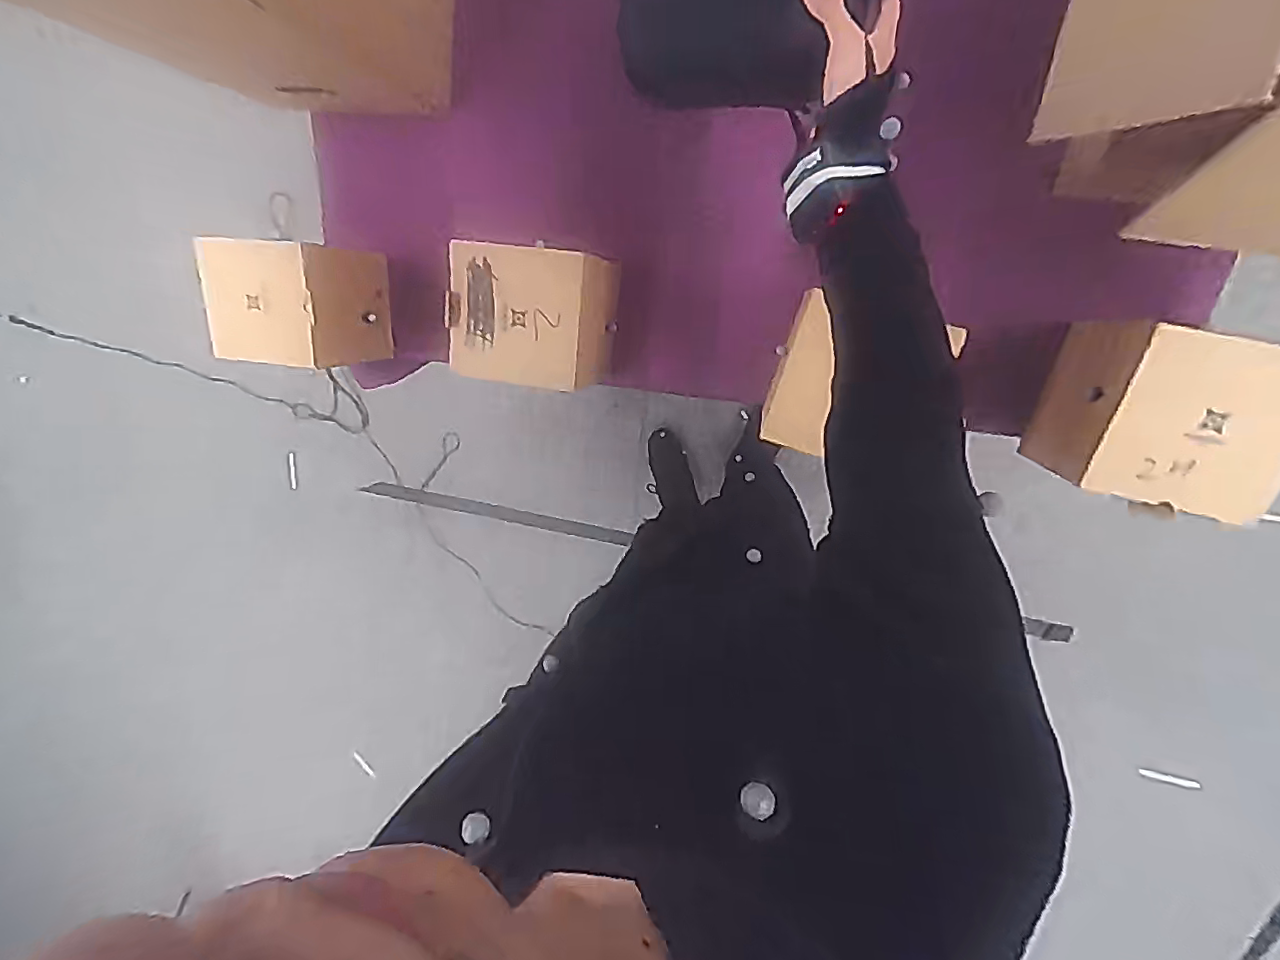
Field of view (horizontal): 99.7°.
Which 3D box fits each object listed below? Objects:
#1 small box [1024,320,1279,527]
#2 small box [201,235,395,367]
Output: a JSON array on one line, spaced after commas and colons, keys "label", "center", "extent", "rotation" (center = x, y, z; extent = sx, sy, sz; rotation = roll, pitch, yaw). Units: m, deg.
[{"label": "small box", "center": [0.577, -0.075, 0.608], "extent": [0.168, 0.176, 0.179], "rotation": [16, 109, 10]}, {"label": "small box", "center": [-0.505, -0.268, 0.820], "extent": [0.179, 0.176, 0.168], "rotation": [7, 108, 10]}]
